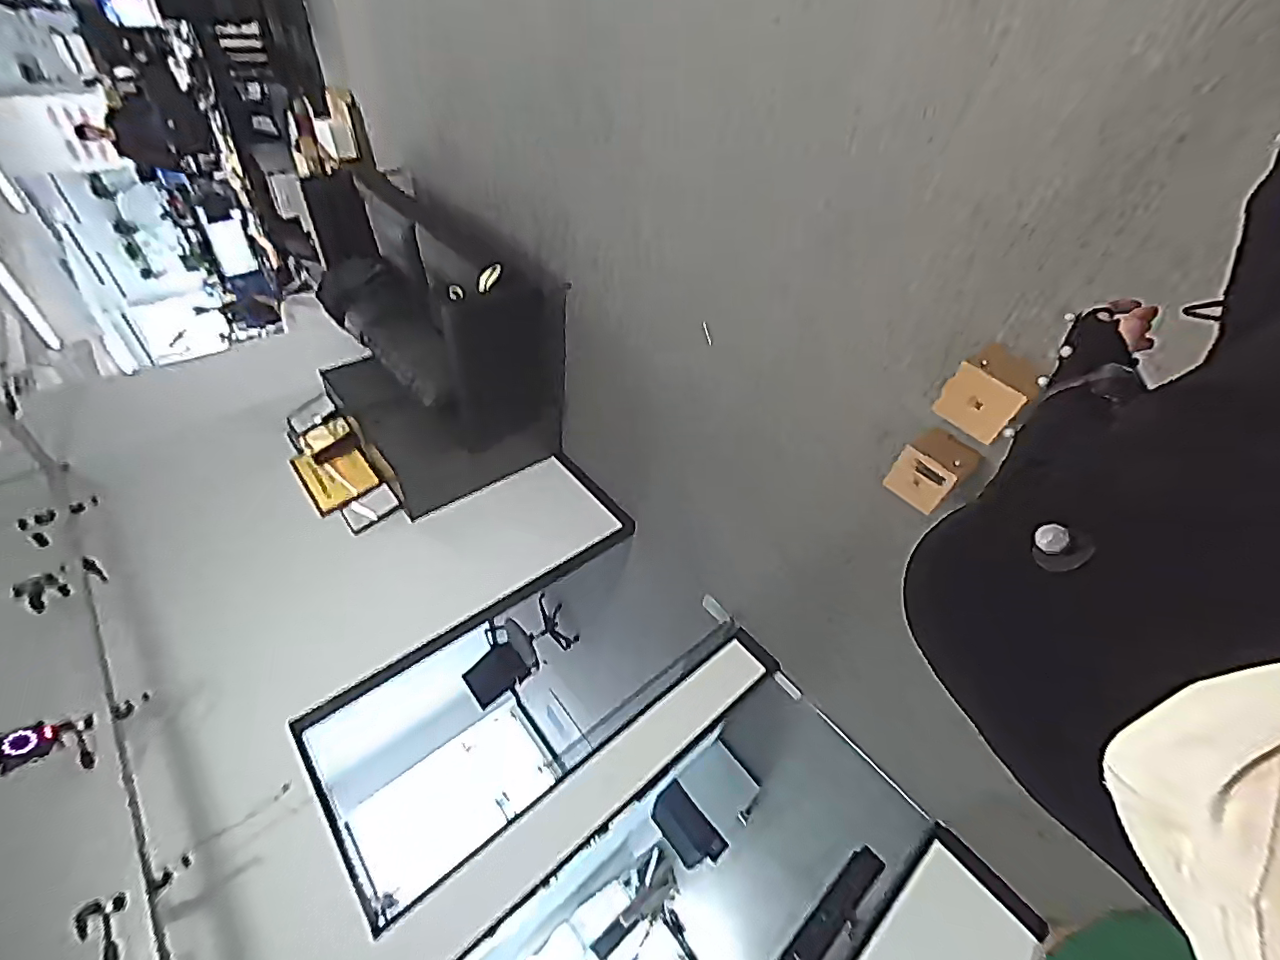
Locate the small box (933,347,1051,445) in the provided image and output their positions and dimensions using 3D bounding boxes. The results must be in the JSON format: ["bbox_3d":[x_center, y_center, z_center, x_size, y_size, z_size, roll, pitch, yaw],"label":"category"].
[{"bbox_3d":[0.935,-0.229,1.435,0.179,0.176,0.168,45,146,28],"label":"small box"}]
